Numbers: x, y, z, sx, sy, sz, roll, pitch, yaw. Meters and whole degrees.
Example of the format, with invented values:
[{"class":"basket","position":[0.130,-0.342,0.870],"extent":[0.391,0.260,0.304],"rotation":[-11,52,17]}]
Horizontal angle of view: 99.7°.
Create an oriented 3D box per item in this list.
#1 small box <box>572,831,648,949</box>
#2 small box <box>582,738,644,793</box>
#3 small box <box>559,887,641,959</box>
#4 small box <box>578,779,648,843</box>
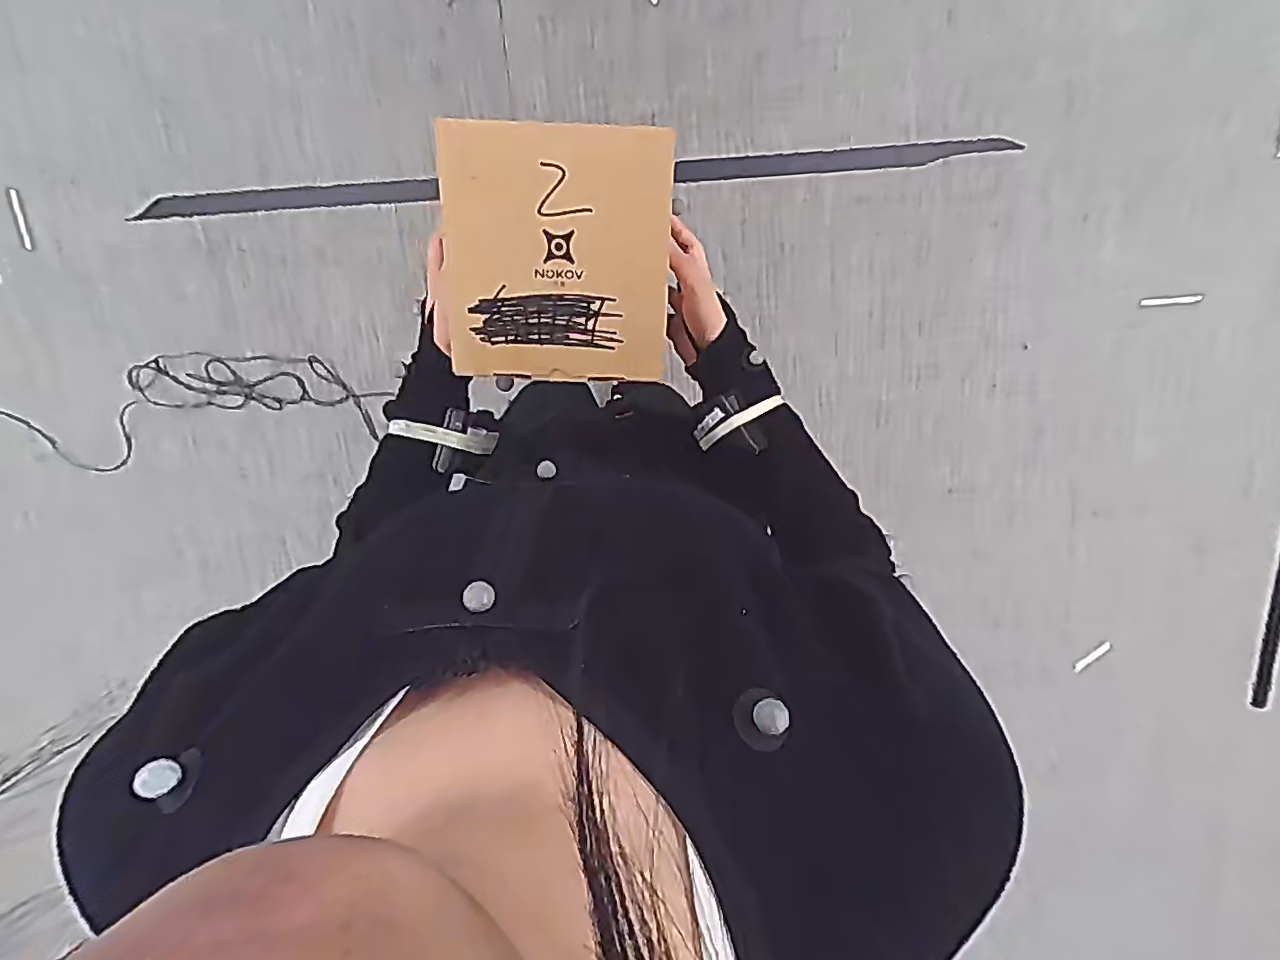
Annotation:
[{"class":"small box","position":[-0.074,0.985,1.309],"extent":[0.179,0.176,0.168],"rotation":[3,101,-1]},{"class":"small box","position":[-0.081,0.900,1.624],"extent":[0.179,0.176,0.168],"rotation":[2,102,-1]},{"class":"small box","position":[-0.084,1.016,1.148],"extent":[0.168,0.176,0.179],"rotation":[2,101,-2]},{"class":"small box","position":[-0.077,0.943,1.466],"extent":[0.179,0.176,0.168],"rotation":[6,101,-2]}]
